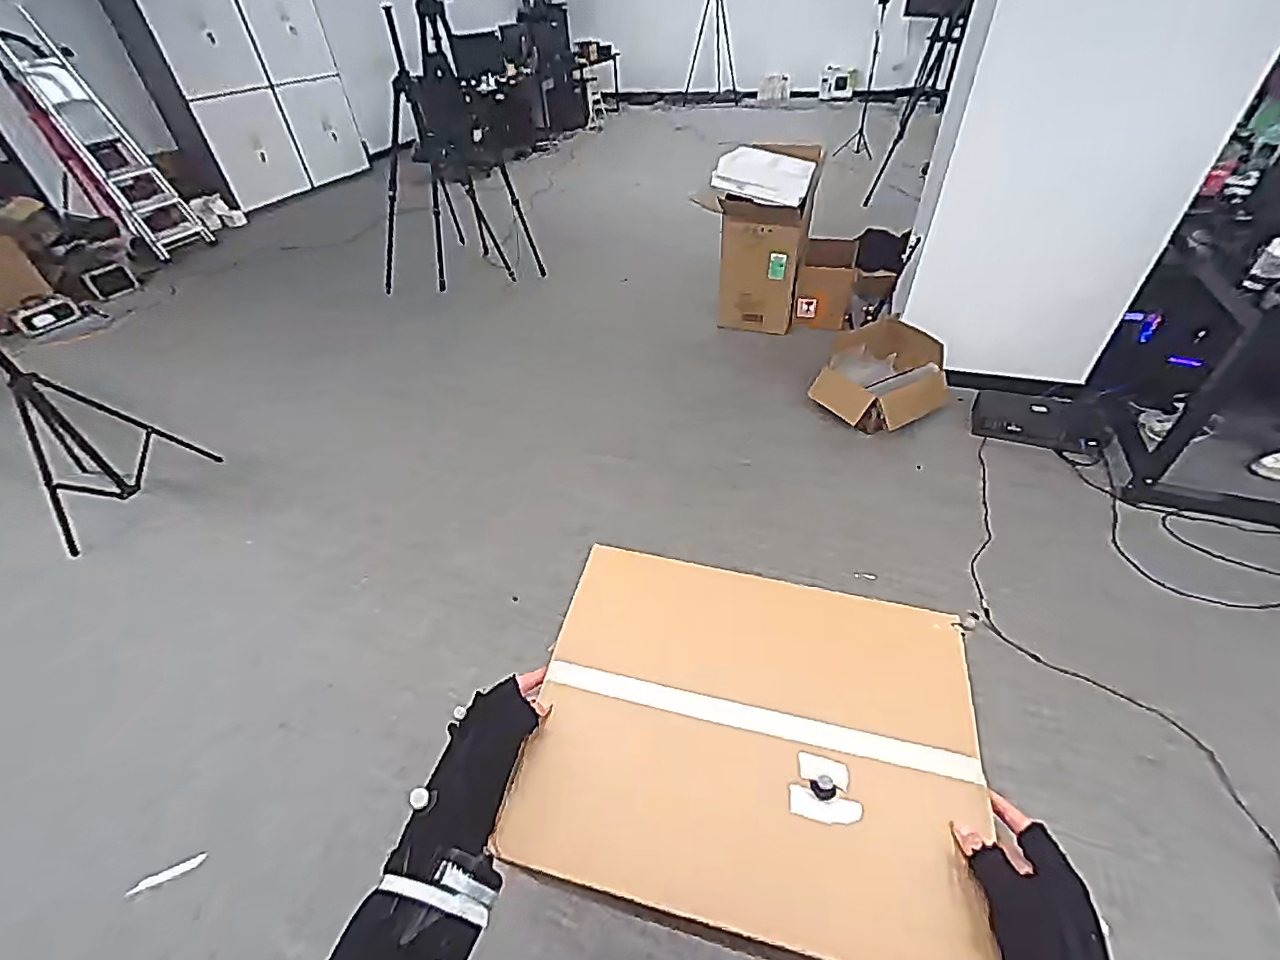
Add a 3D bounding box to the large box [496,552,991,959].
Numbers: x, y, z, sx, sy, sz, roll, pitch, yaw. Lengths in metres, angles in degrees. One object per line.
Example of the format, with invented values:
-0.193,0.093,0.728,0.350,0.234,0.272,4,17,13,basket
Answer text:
0.102,0.327,0.633,0.408,0.320,0.320,10,50,10,large box
